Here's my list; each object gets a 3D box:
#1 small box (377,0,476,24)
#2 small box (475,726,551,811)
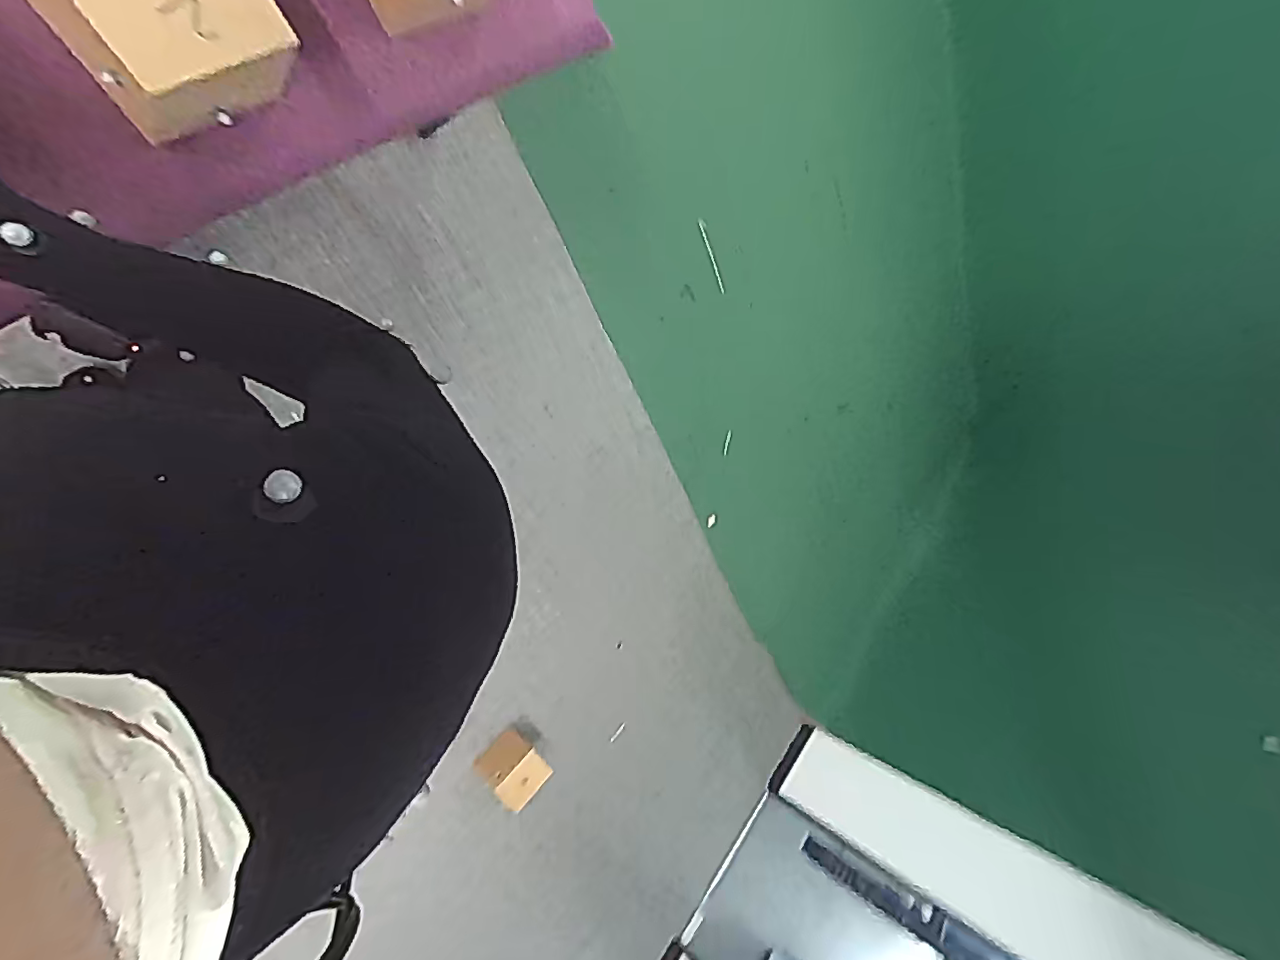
[{"bbox_3d":[-0.281,-0.742,0.704,0.179,0.176,0.168,-43,124,-25],"label":"small box"},{"bbox_3d":[-0.458,1.027,1.941,0.179,0.176,0.168,-42,124,-26],"label":"small box"}]
